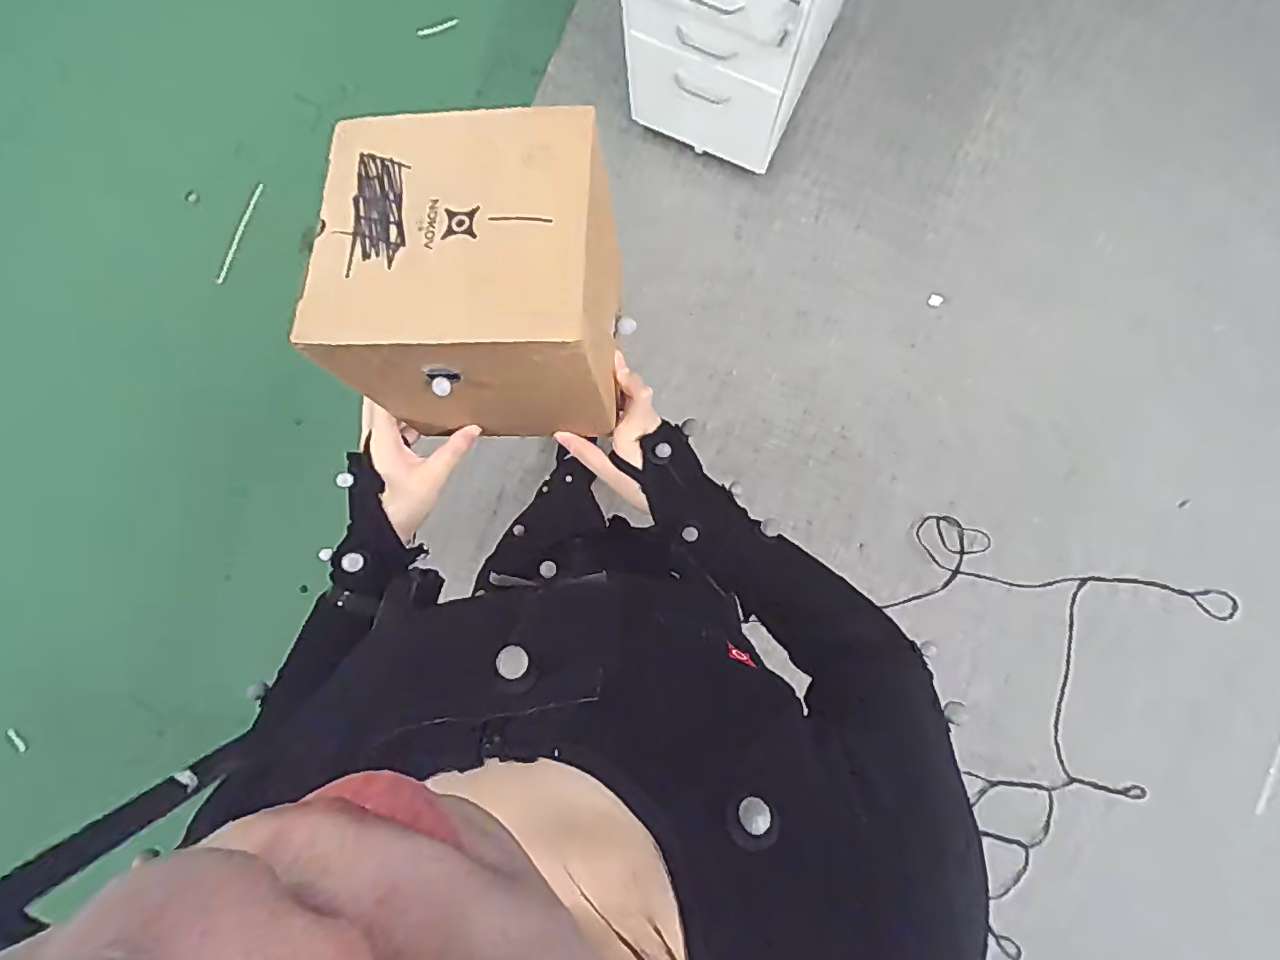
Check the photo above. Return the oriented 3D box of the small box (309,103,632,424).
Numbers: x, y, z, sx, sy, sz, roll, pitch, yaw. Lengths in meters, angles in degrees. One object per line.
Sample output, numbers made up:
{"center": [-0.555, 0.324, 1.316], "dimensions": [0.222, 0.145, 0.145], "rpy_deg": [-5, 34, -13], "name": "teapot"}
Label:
{"center": [-0.104, -0.147, 0.415], "dimensions": [0.179, 0.176, 0.168], "rpy_deg": [1, 76, 4], "name": "small box"}
